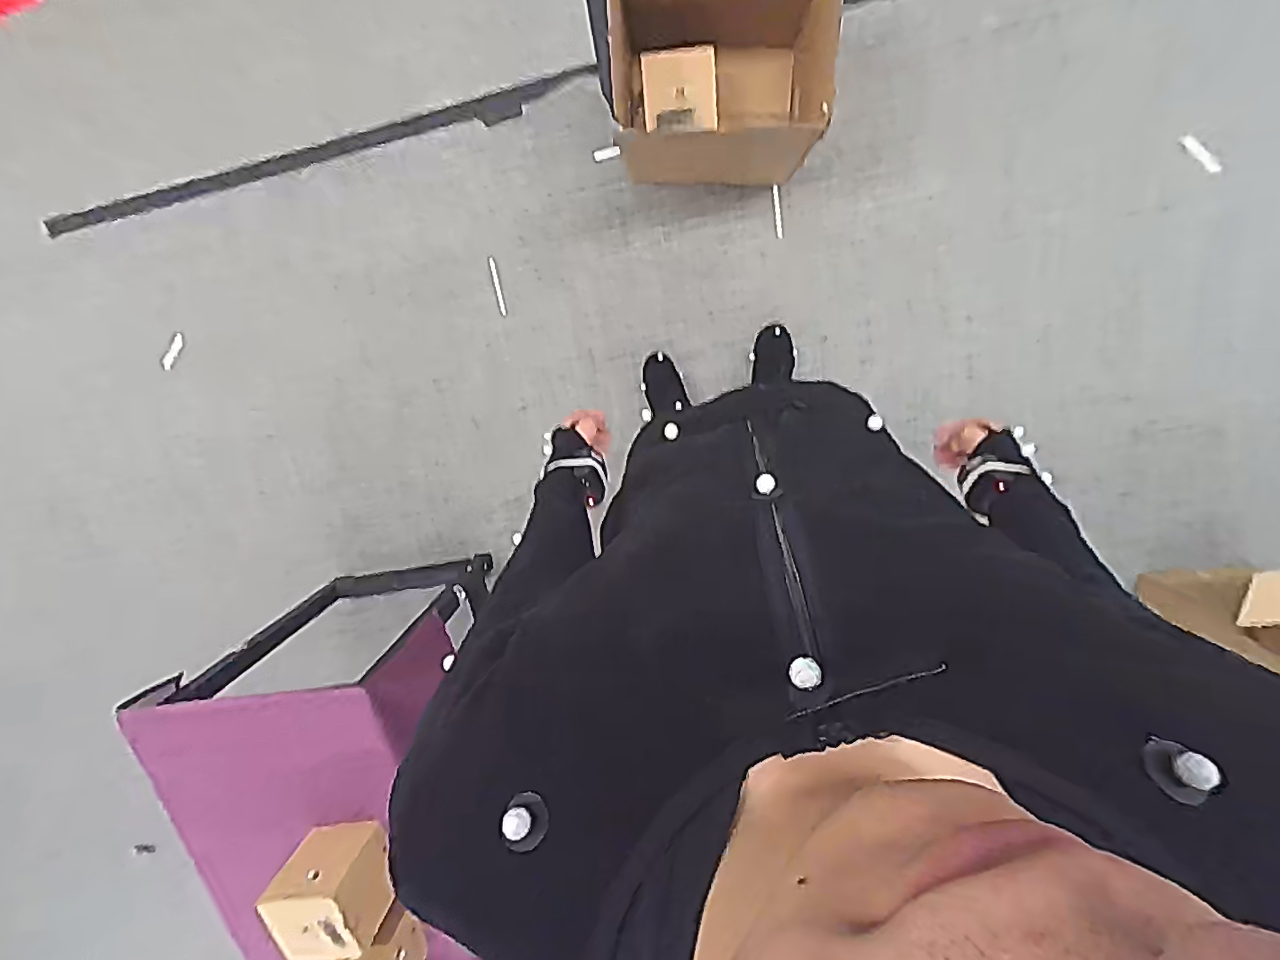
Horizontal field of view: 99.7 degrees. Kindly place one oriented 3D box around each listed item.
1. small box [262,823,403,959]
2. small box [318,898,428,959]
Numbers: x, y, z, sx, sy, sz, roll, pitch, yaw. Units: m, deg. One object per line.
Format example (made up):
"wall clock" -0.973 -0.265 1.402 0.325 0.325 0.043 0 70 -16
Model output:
"small box" -0.632 0.861 1.143 0.179 0.176 0.168 -13 105 10
"small box" -0.594 1.070 1.203 0.179 0.176 0.168 -6 105 7
